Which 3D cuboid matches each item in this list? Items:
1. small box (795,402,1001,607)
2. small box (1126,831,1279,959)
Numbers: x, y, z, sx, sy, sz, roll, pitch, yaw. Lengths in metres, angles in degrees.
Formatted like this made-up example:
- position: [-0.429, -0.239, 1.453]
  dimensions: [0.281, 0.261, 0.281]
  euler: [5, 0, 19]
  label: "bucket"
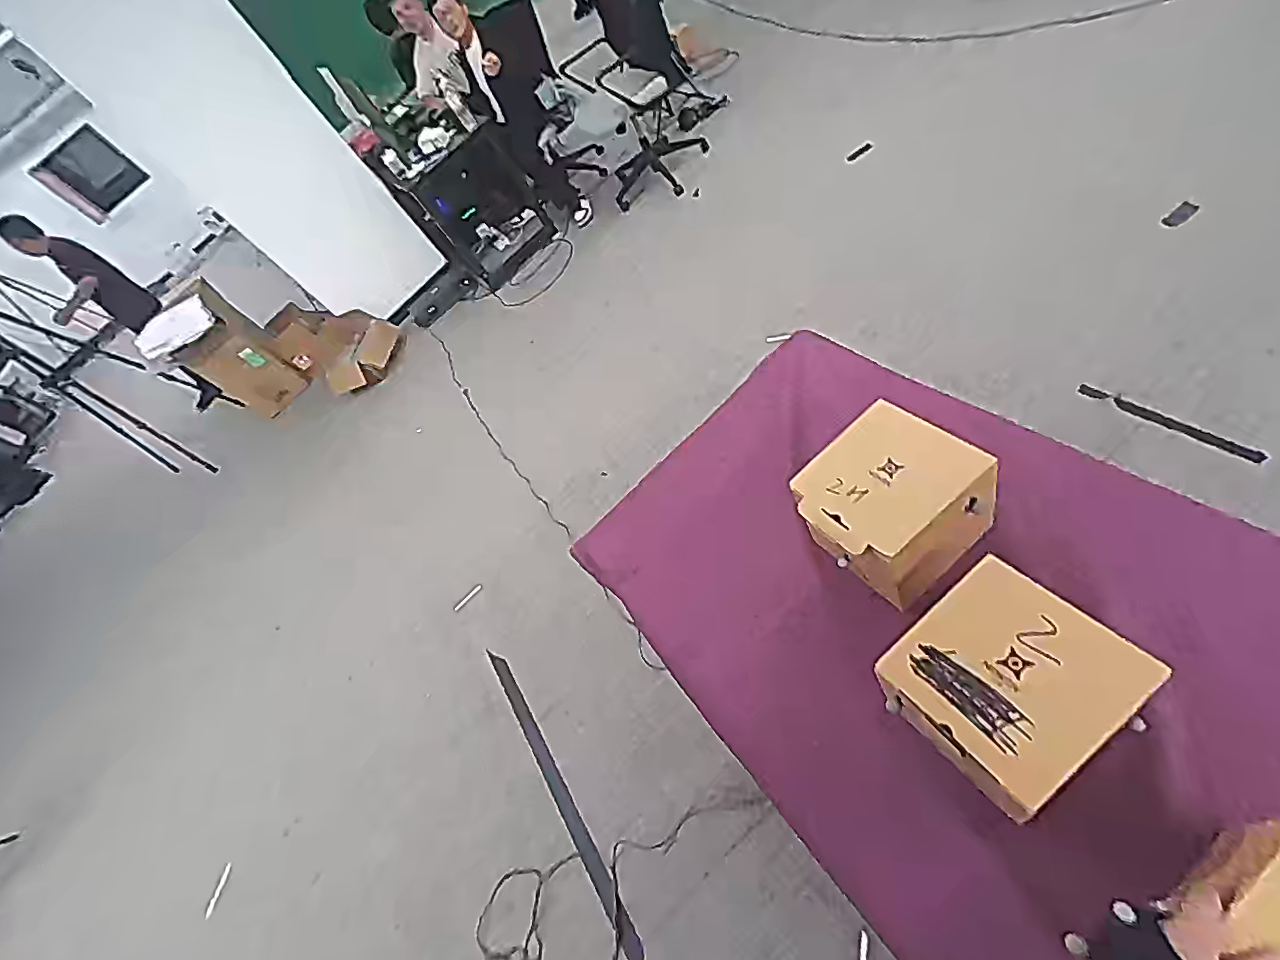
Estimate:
- position: [0.341, 0.036, 0.724]
  dimensions: [0.179, 0.176, 0.168]
  euler: [-43, 47, -1]
  label: "small box"
- position: [0.500, 0.382, 0.387]
  dimensions: [0.179, 0.176, 0.168]
  euler: [-45, 46, -4]
  label: "small box"
